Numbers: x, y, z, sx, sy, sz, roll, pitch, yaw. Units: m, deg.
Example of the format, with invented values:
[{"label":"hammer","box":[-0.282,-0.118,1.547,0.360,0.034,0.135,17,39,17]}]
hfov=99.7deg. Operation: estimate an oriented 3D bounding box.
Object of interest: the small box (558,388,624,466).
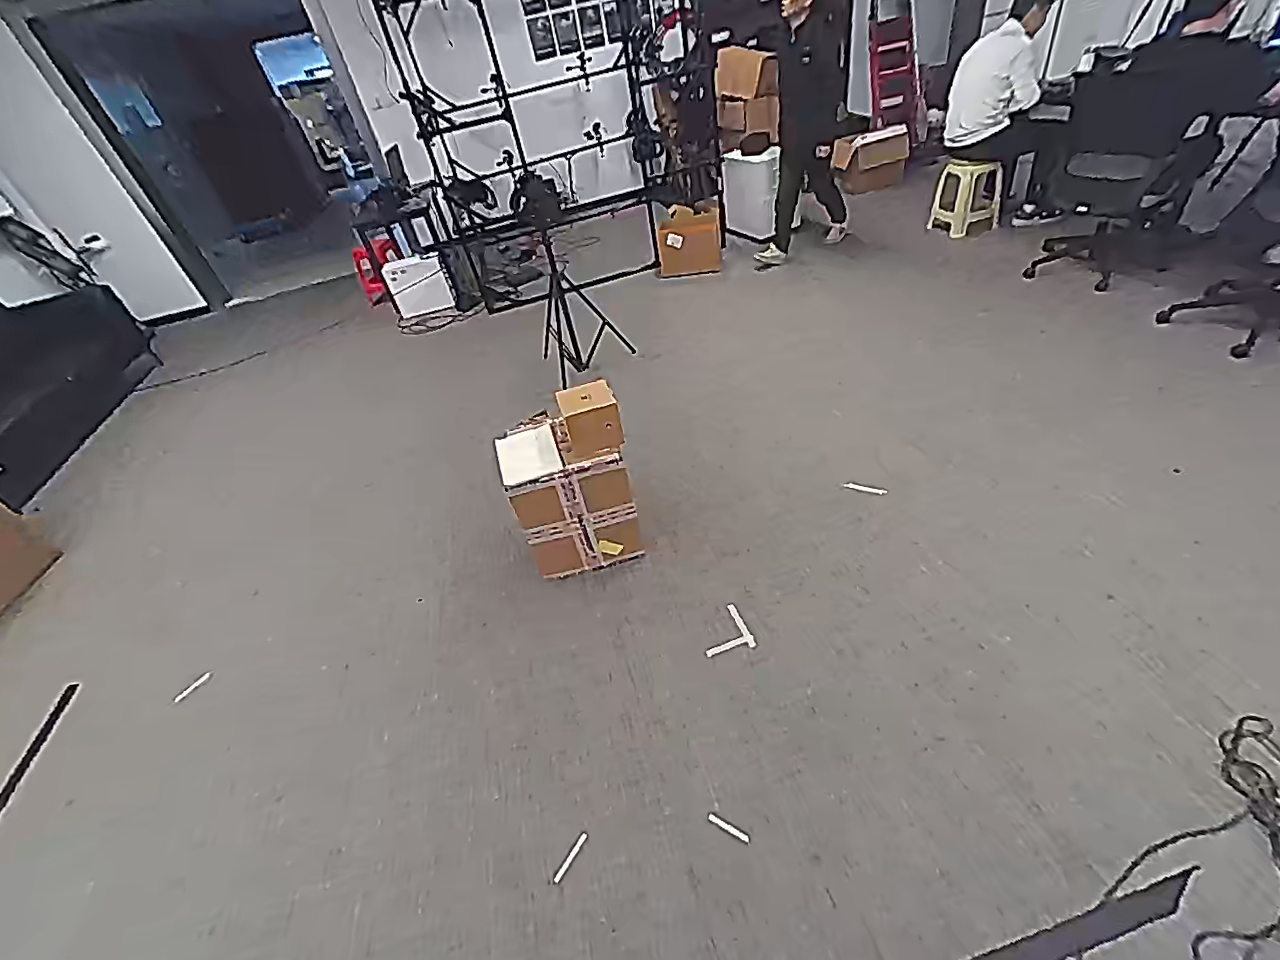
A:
[{"label":"small box","box":[-0.158,-0.175,1.793,0.179,0.176,0.168,-18,41,-7]}]
